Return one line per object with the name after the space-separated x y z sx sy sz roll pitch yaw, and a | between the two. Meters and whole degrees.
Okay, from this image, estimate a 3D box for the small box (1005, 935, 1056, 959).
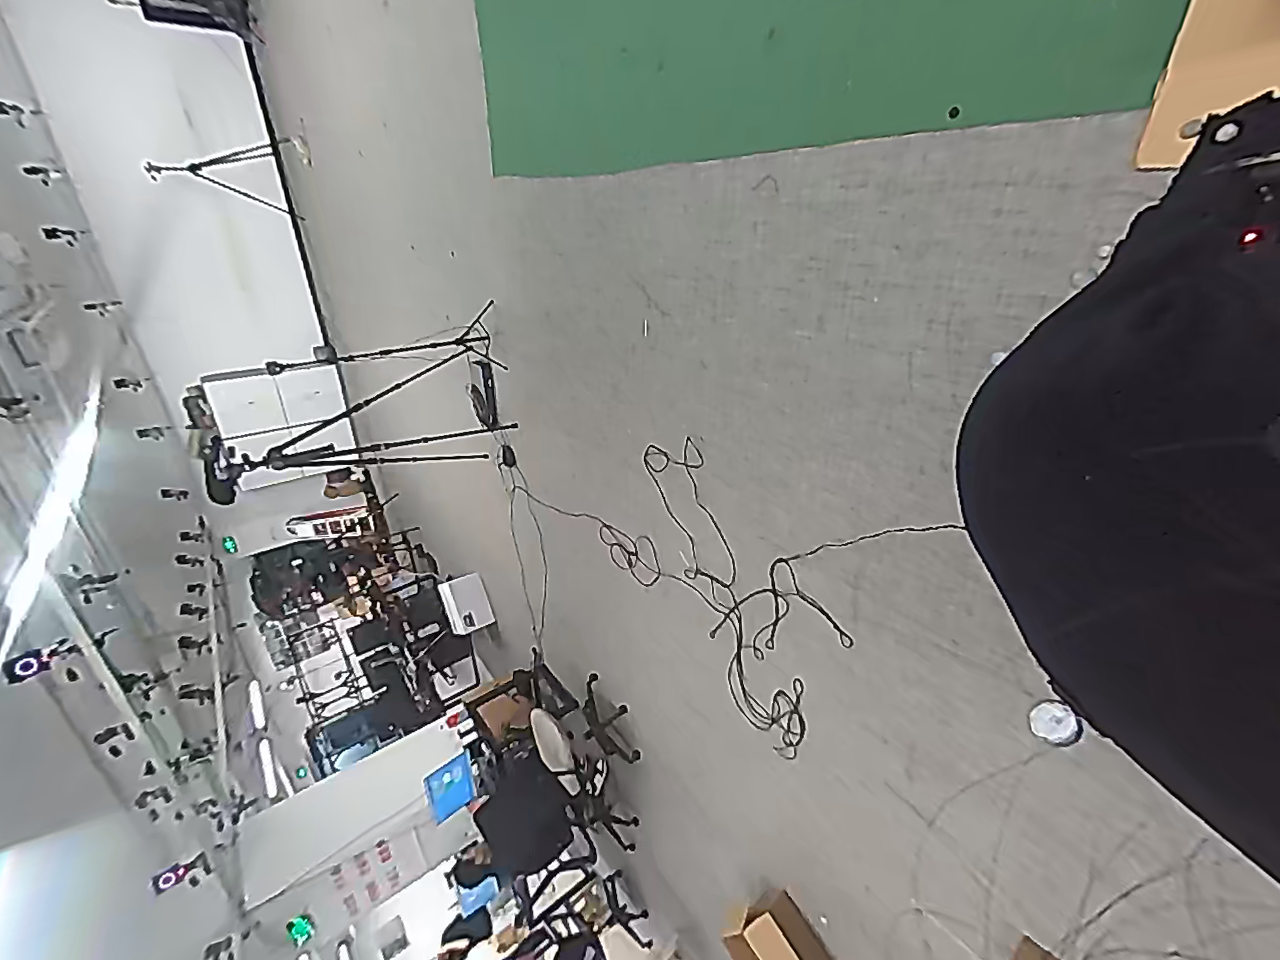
1.201 1.560 1.646 0.168 0.176 0.179 23 124 48 | small box
